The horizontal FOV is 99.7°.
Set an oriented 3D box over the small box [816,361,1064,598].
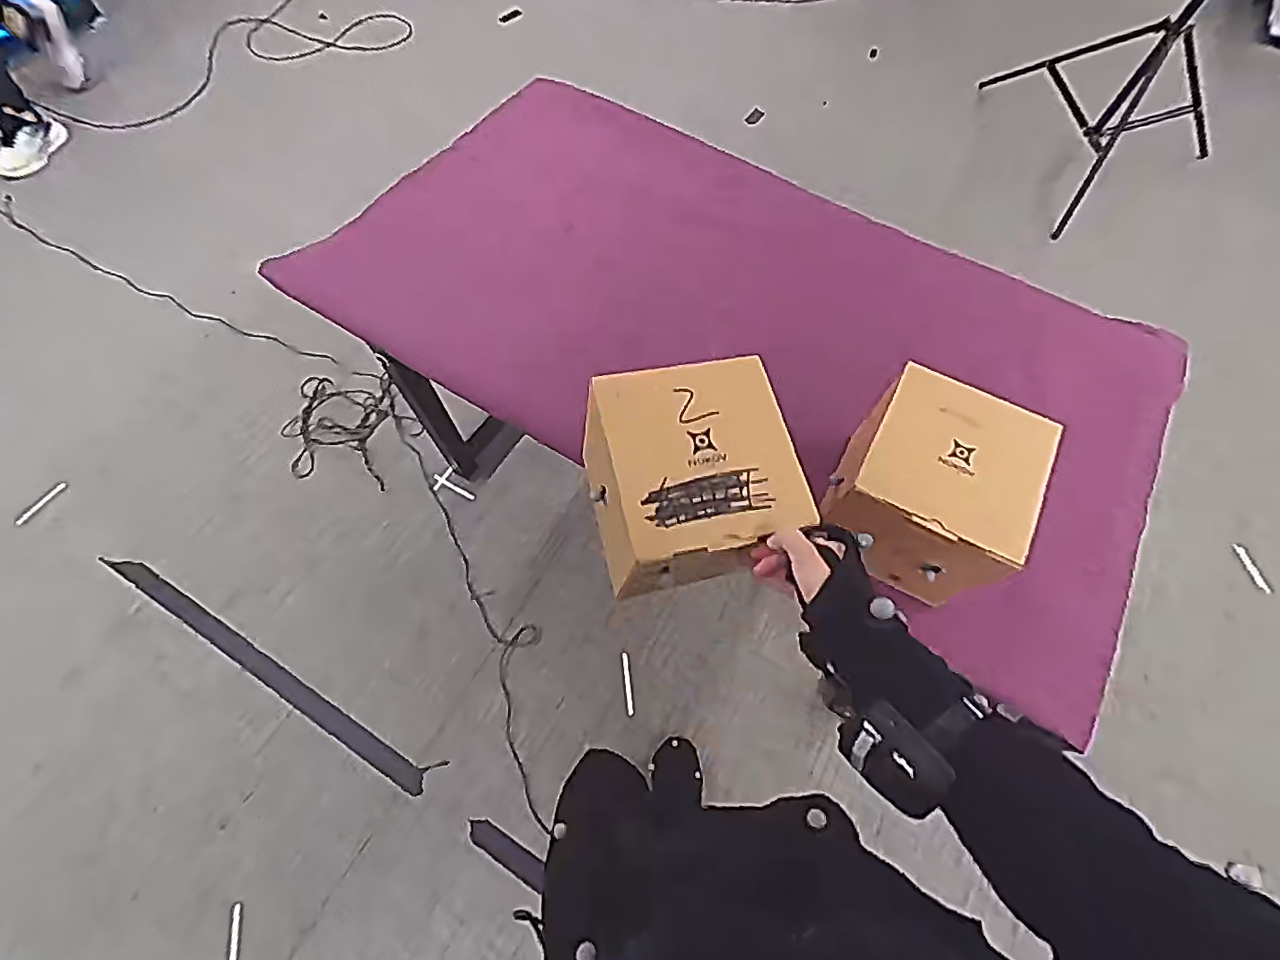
[{"bbox_3d":[0.318,0.009,0.606,0.168,0.176,0.179,27,67,10],"label":"small box"}]
